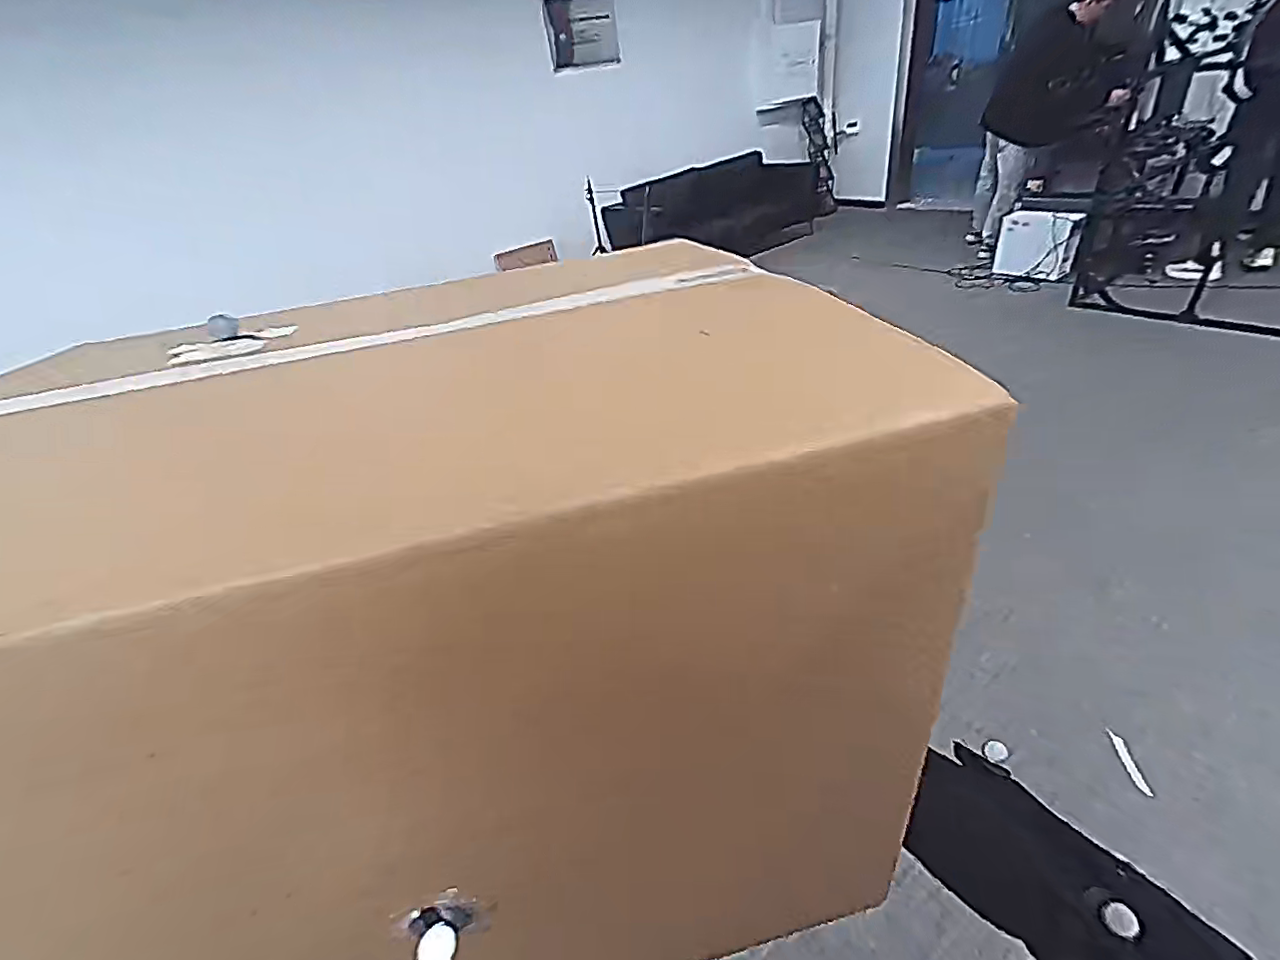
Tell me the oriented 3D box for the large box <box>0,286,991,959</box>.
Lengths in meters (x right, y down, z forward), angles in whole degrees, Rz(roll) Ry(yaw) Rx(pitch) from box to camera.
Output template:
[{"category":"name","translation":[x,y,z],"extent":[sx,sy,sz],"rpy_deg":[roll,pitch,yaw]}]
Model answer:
[{"category":"large box","translation":[-0.087,0.090,0.355],"extent":[0.408,0.320,0.320],"rpy_deg":[-12,31,-7]}]
